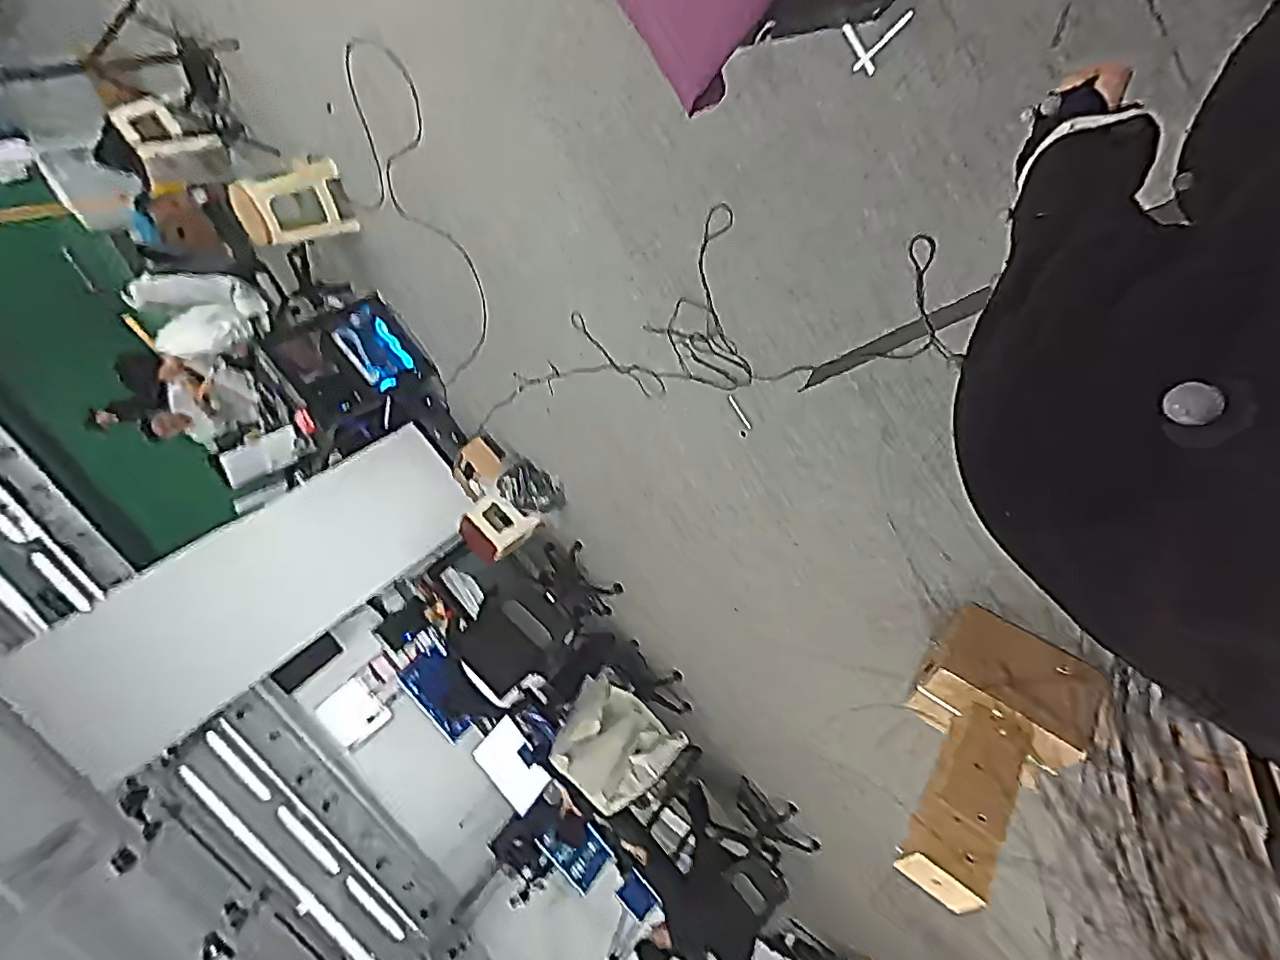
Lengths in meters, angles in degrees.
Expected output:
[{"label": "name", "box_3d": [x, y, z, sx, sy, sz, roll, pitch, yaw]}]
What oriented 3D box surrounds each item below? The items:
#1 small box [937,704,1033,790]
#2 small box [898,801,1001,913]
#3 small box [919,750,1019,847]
[{"label": "small box", "box_3d": [1.022, 0.806, 1.599, 0.168, 0.176, 0.179, 30, 142, 25]}, {"label": "small box", "box_3d": [0.815, 0.984, 1.420, 0.168, 0.176, 0.179, 30, 142, 25]}, {"label": "small box", "box_3d": [0.920, 0.898, 1.511, 0.168, 0.176, 0.179, 30, 143, 25]}]
